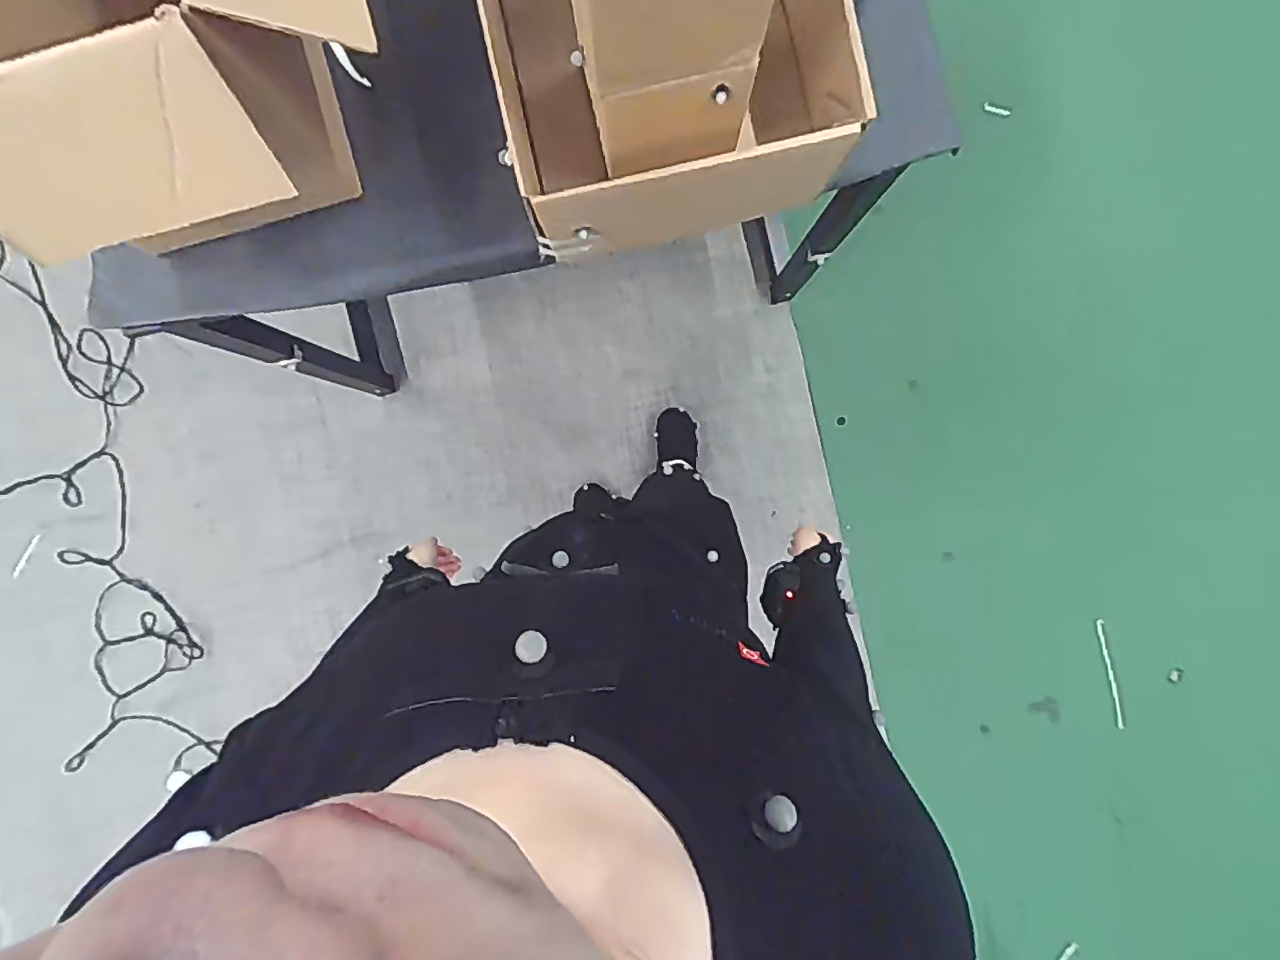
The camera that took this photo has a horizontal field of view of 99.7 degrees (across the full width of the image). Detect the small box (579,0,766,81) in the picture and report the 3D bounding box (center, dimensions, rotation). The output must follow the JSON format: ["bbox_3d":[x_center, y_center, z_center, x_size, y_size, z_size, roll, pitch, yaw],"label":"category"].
[{"bbox_3d":[0.022,-0.501,0.479,0.179,0.176,0.168,-13,92,-1],"label":"small box"}]
